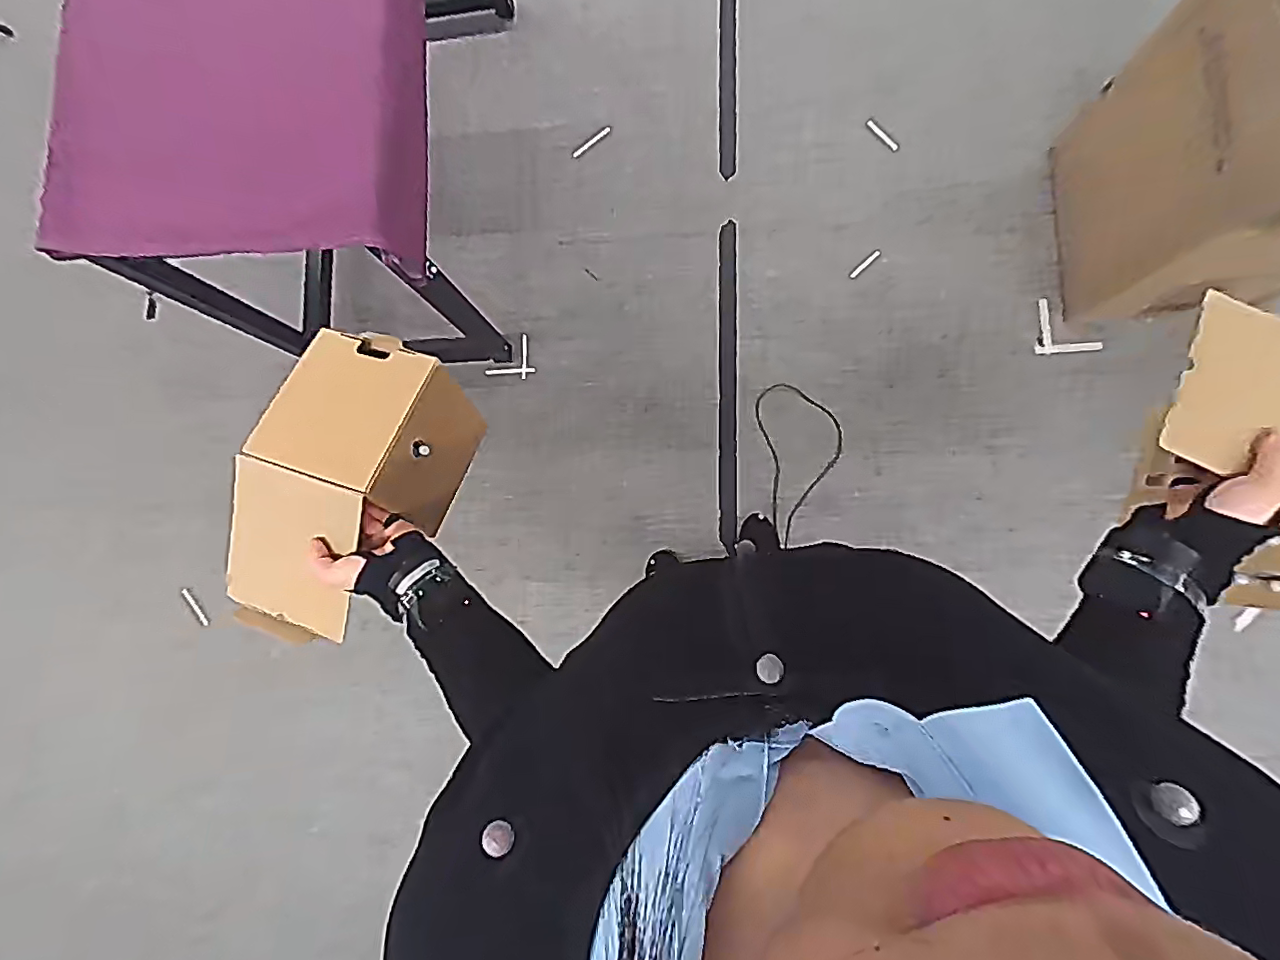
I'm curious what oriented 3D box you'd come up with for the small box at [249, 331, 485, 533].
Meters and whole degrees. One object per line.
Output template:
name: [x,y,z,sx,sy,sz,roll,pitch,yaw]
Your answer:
small box: [-0.320,-0.051,0.678,0.168,0.176,0.179,16,69,12]
